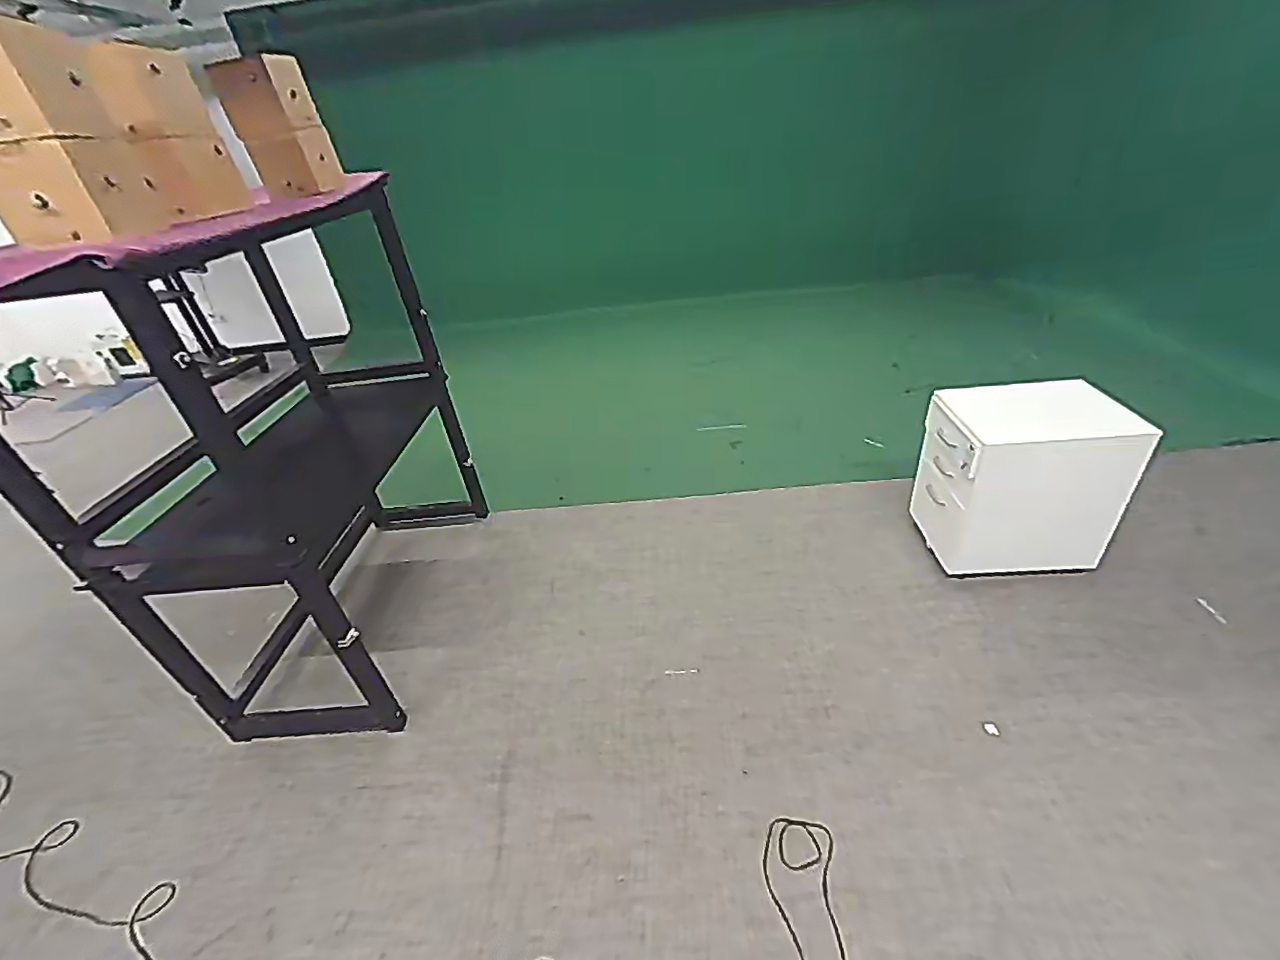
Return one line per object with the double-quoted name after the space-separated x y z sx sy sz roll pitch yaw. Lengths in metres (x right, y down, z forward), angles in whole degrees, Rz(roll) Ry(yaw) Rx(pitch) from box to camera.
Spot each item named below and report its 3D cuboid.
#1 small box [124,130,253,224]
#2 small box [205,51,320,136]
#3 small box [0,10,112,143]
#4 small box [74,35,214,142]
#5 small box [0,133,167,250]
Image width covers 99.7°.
-1.077 -0.715 1.283 0.168 0.176 0.179 -5 33 6 "small box"
-1.054 -1.092 1.531 0.179 0.176 0.168 -6 35 7 "small box"
-1.070 -0.671 0.918 0.168 0.176 0.179 -12 34 -6 "small box"
-1.104 -0.850 1.193 0.168 0.176 0.179 -5 32 6 "small box"
-1.051 -0.537 1.009 0.168 0.176 0.179 -9 34 -4 "small box"
